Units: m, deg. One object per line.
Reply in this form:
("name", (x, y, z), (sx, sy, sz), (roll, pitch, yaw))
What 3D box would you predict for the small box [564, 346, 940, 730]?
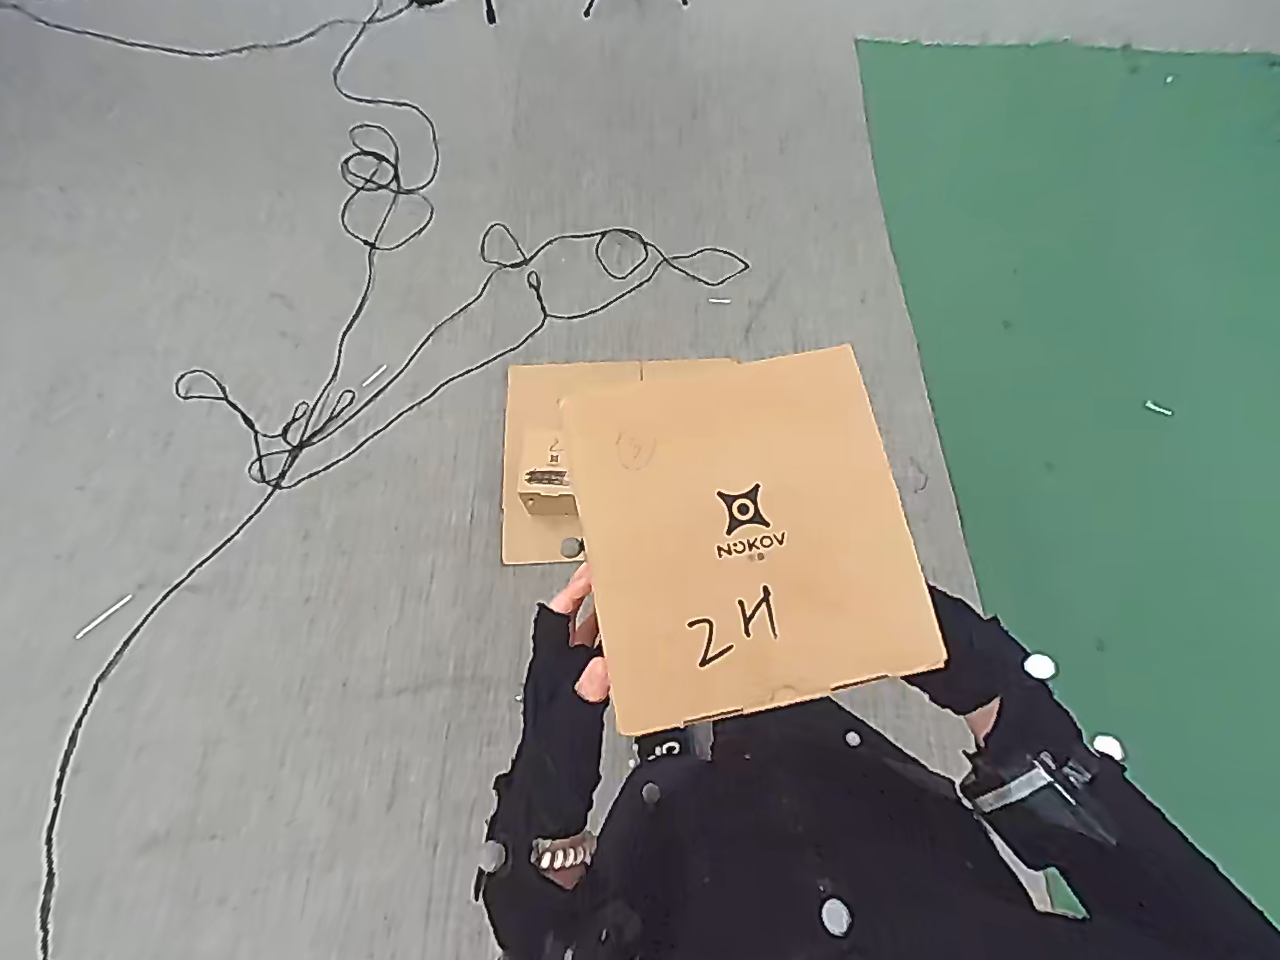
("small box", (0.050, 0.039, 0.356), (0.168, 0.176, 0.179), (-11, 79, -4))
